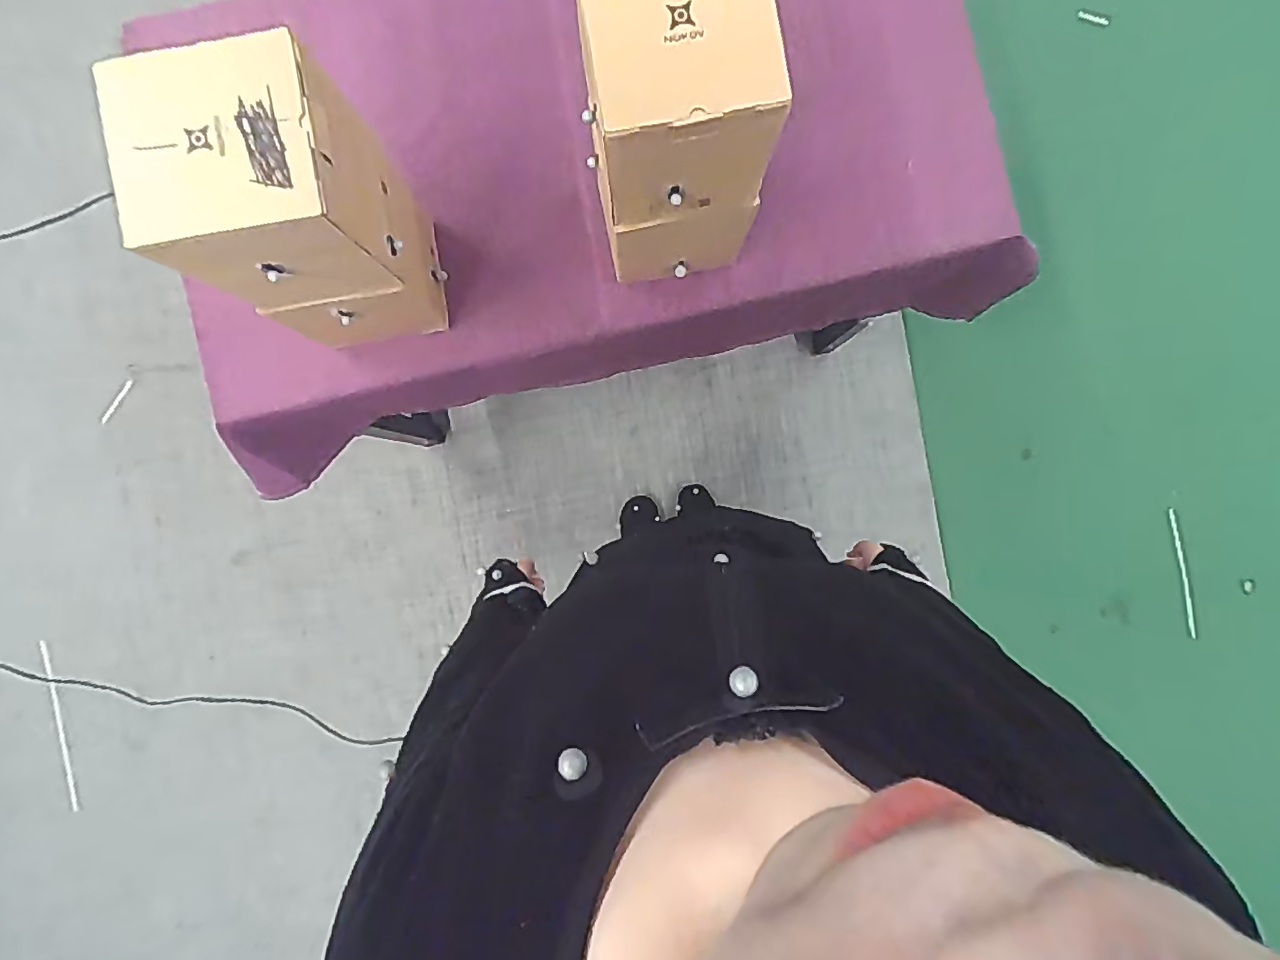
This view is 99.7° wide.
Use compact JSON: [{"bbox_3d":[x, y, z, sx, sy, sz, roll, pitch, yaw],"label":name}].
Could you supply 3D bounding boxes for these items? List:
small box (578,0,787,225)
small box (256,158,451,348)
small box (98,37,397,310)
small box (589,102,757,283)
[{"bbox_3d":[0.033,-0.394,0.548,0.168,0.176,0.179,-11,90,1],"label":"small box"},{"bbox_3d":[-0.373,-0.282,0.710,0.179,0.176,0.168,-10,90,-1],"label":"small box"},{"bbox_3d":[-0.368,-0.288,0.546,0.179,0.176,0.168,-11,90,0],"label":"small box"},{"bbox_3d":[0.037,-0.381,0.712,0.179,0.176,0.168,-11,89,-1],"label":"small box"}]
